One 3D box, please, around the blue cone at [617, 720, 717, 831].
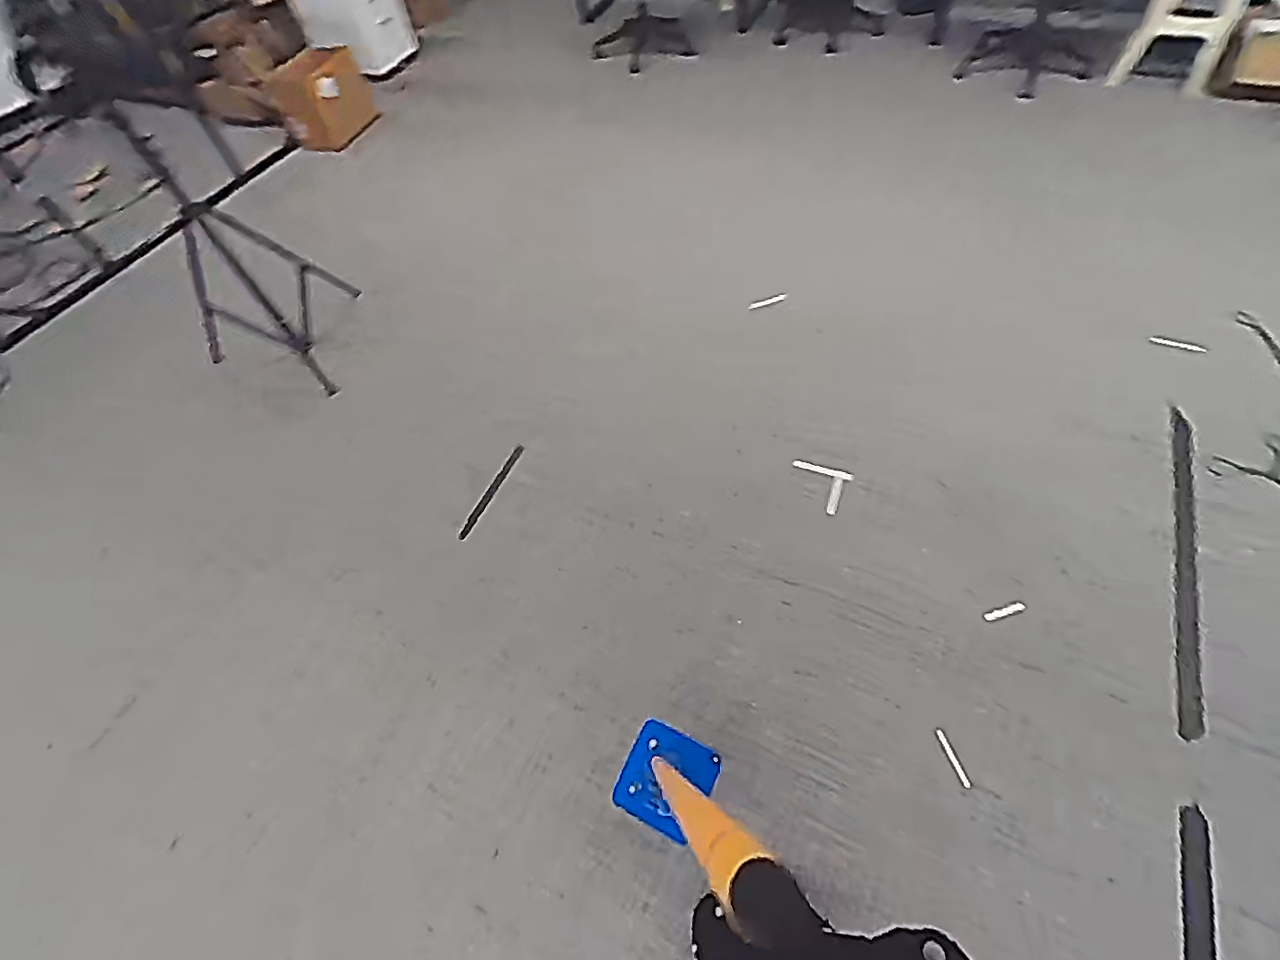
[{"bbox_3d":[0.047,0.577,1.091,0.193,0.380,0.192,22,61,19],"label":"blue cone"}]
